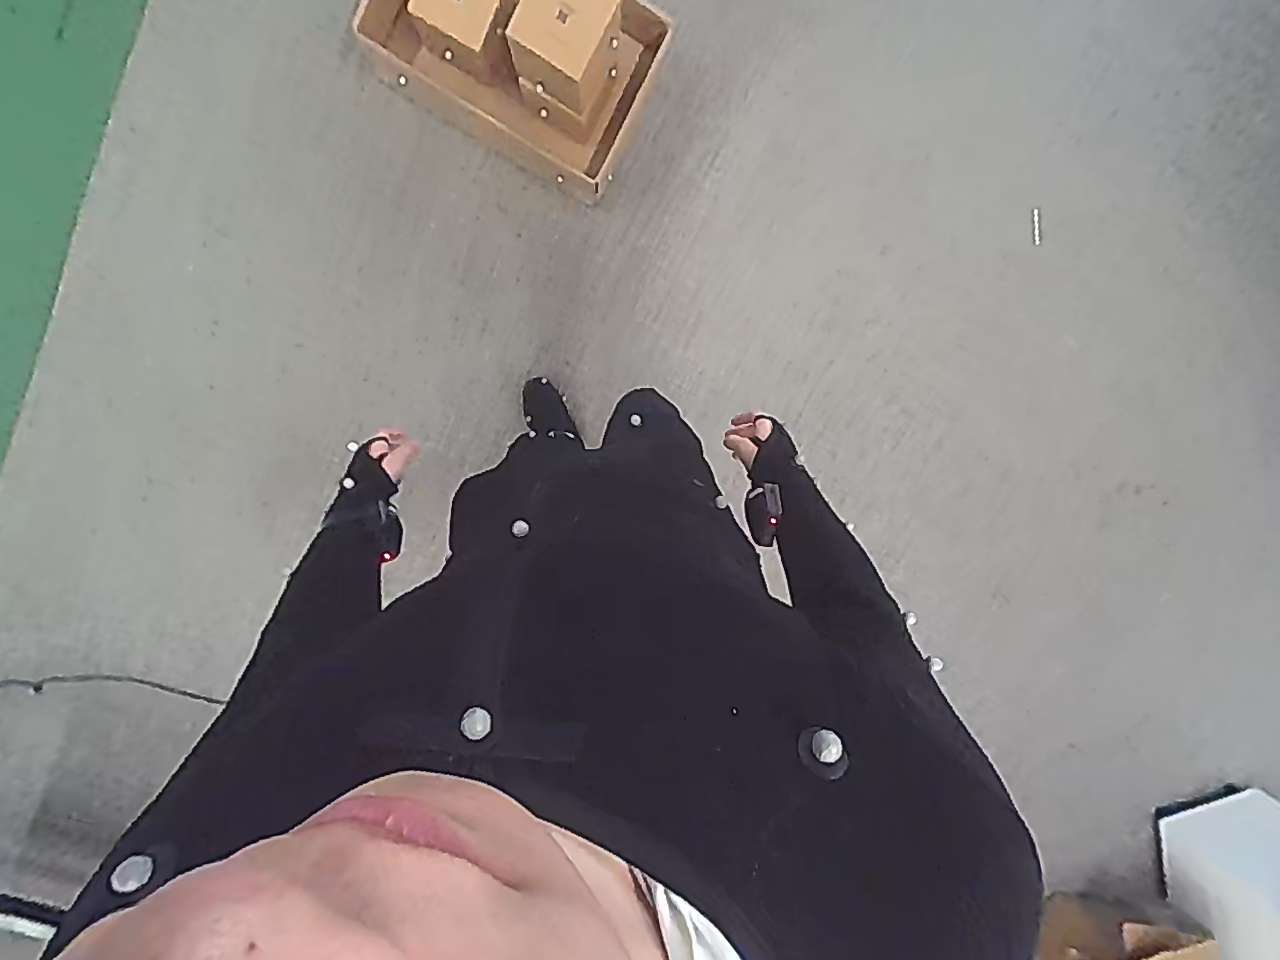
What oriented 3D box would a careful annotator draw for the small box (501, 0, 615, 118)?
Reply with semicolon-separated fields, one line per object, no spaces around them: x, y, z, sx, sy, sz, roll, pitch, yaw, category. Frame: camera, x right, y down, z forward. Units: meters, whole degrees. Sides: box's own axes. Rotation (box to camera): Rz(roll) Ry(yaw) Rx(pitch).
-0.167;-0.911;1.125;0.168;0.176;0.179;29;97;-10;small box

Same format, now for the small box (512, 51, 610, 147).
-0.183;-0.939;1.286;0.168;0.176;0.179;26;98;-11;small box

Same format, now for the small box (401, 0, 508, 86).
-0.410;-1.057;1.235;0.168;0.176;0.179;26;98;-12;small box
